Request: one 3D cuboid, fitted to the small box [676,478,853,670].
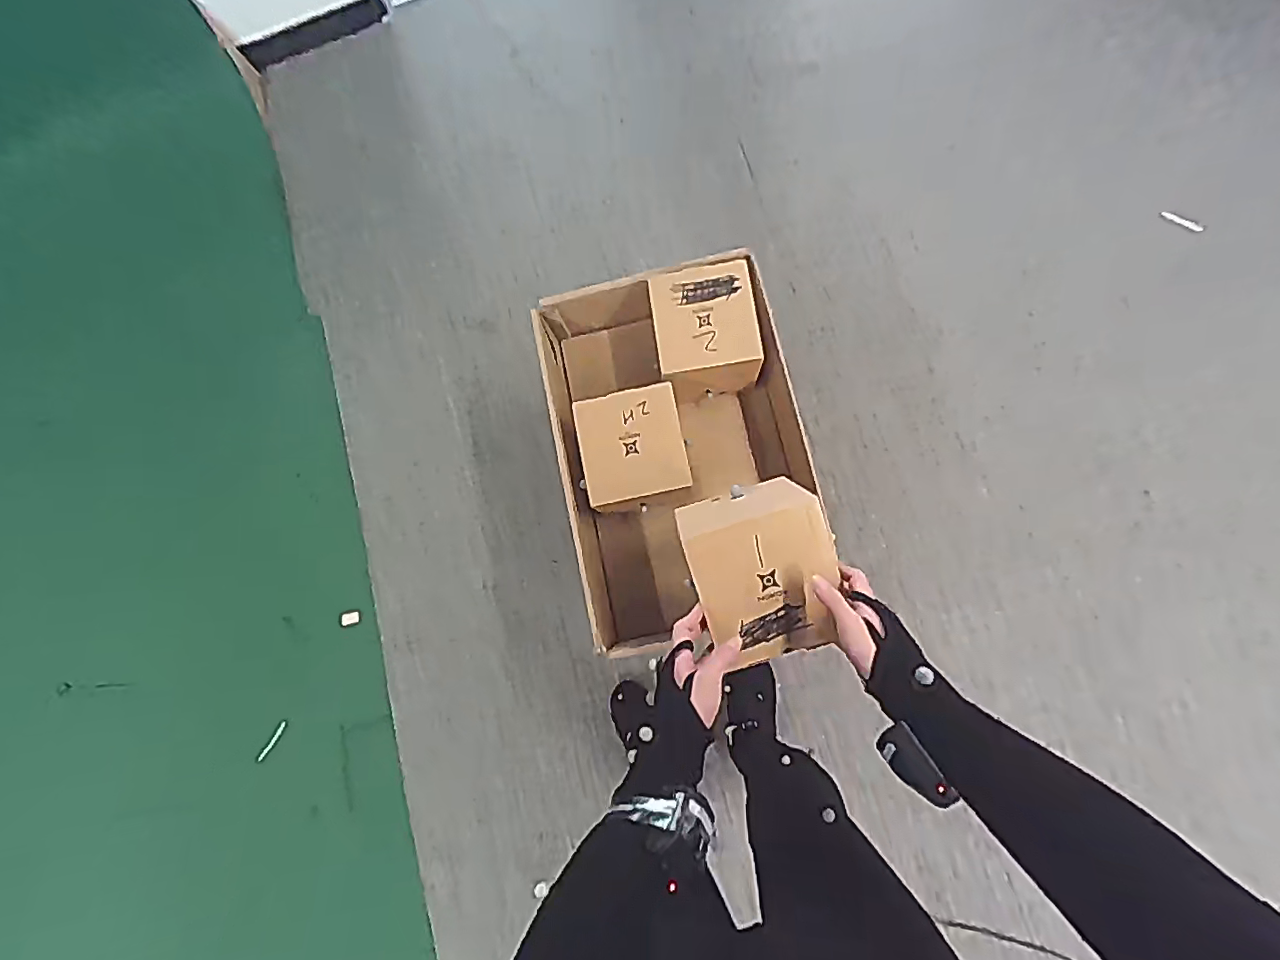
[{"bbox_3d":[0.149,0.110,0.700,0.168,0.176,0.179,-17,97,4],"label":"small box"}]

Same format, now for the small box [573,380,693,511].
[{"bbox_3d":[-0.005,-0.047,0.919,0.168,0.176,0.179,-12,80,4],"label":"small box"}]
